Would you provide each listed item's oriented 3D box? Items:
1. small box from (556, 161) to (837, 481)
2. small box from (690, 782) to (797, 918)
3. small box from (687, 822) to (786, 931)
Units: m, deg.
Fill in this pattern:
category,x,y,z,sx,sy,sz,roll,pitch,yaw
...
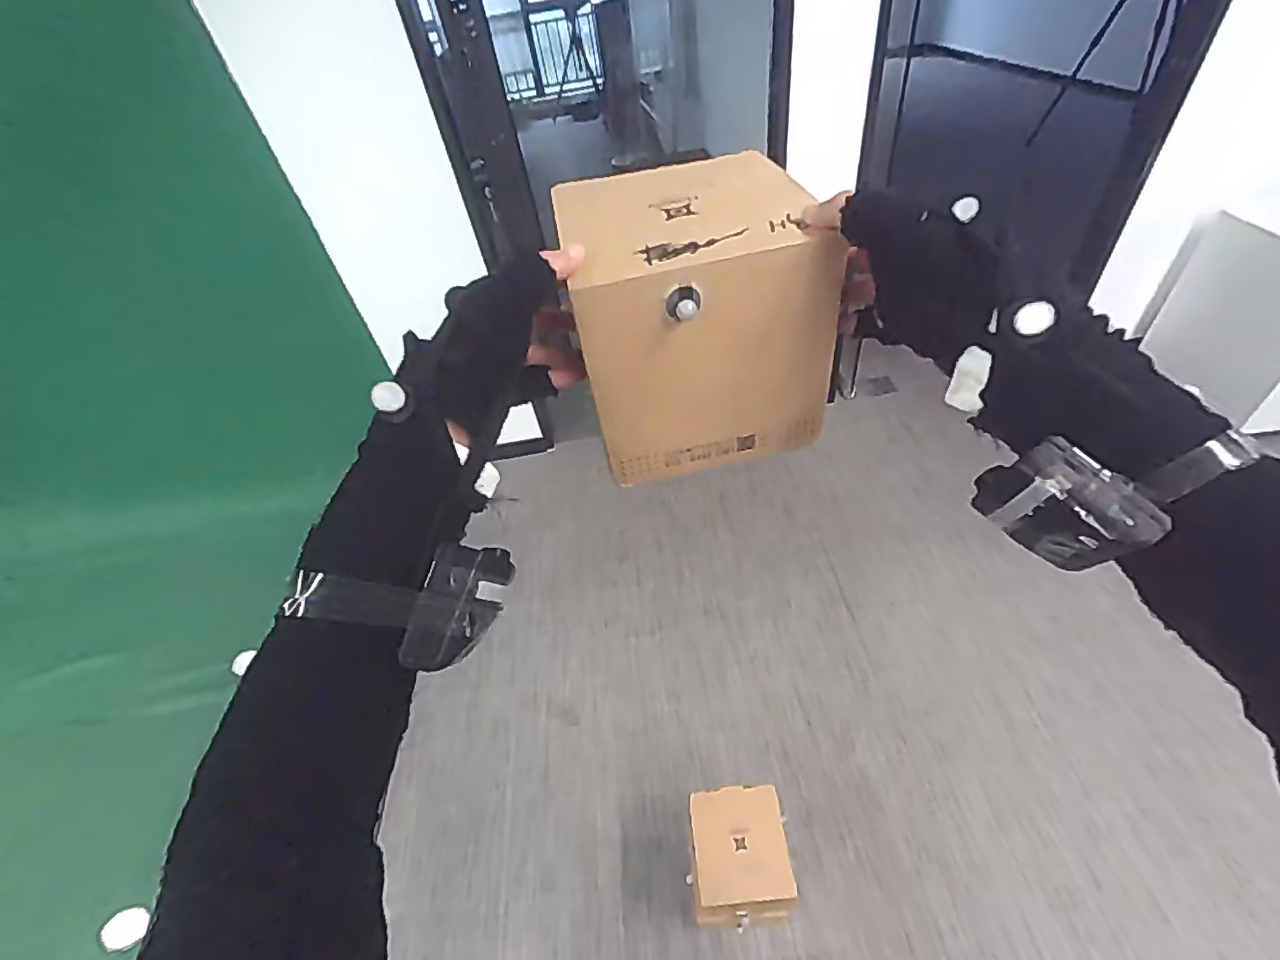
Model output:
category,x,y,z,sx,sy,sz,roll,pitch,yaw
small box,0.035,-0.126,0.431,0.168,0.176,0.179,-13,44,-1
small box,0.190,0.704,1.028,0.168,0.176,0.179,-9,44,3
small box,0.198,0.826,1.134,0.179,0.176,0.168,-8,44,4
